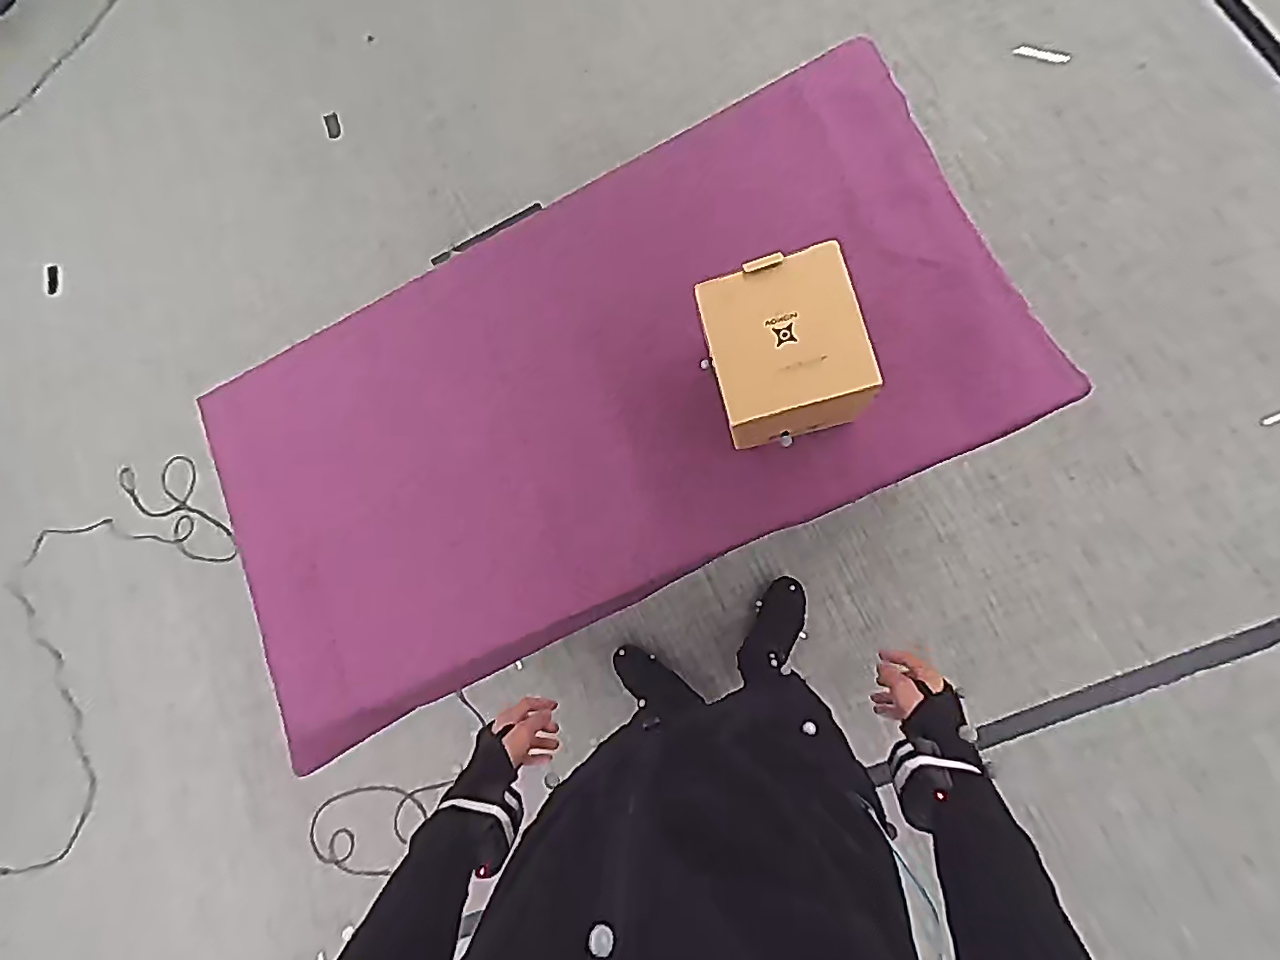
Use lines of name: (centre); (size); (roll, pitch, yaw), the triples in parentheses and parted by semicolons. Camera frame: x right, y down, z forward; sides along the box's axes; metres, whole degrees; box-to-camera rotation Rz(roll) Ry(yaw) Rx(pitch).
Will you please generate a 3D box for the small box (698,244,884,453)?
small box: (0.175, -0.147, 0.665); (0.168, 0.176, 0.179); (-14, 79, 11)
